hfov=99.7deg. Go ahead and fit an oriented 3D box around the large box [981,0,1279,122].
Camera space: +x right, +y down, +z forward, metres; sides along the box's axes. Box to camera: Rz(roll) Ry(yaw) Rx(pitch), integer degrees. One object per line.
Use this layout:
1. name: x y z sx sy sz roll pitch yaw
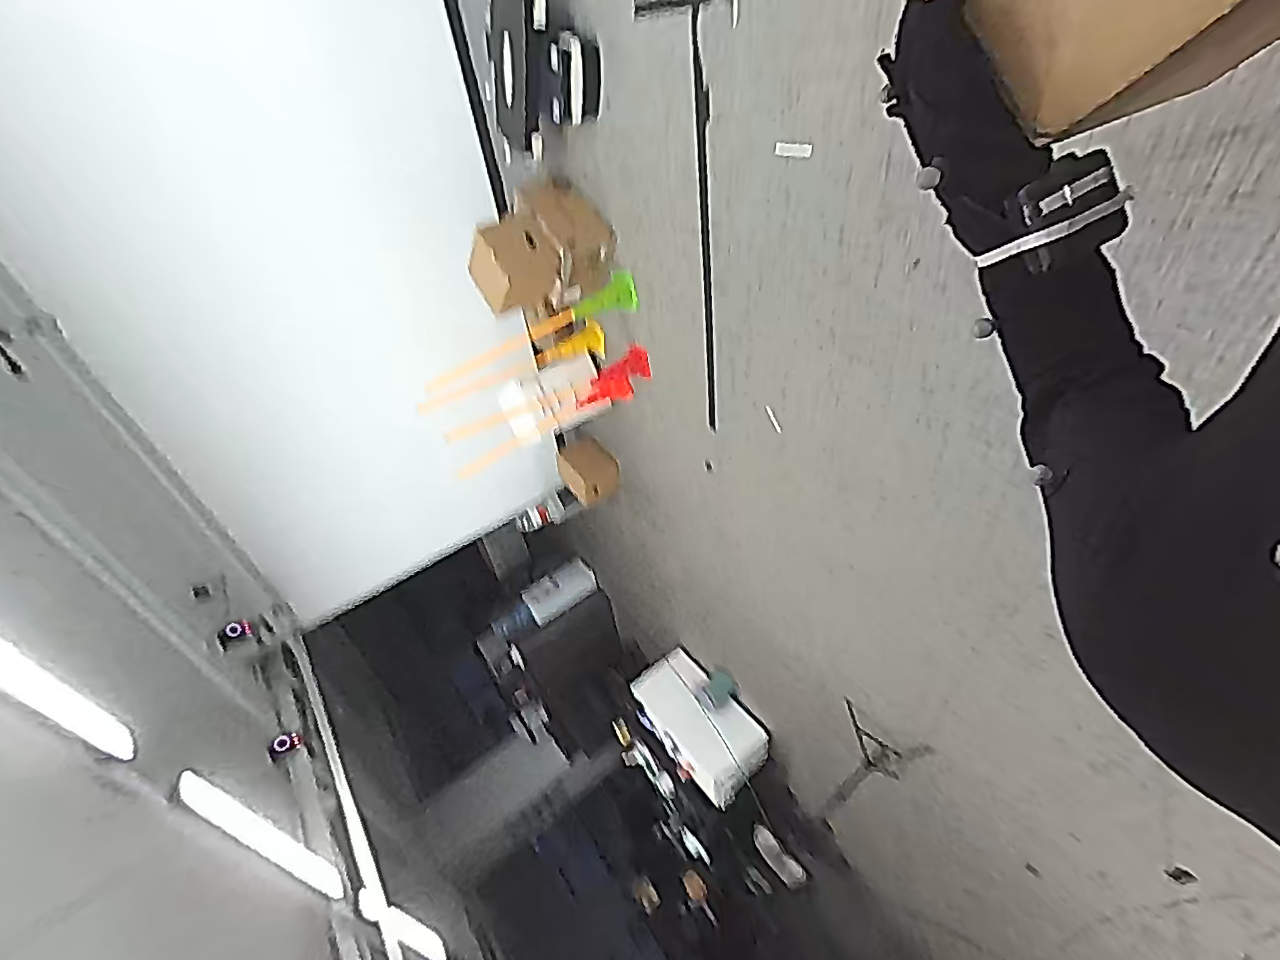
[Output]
1. large box: 0.403 -0.477 0.259 0.320 0.320 0.408 62 155 0
